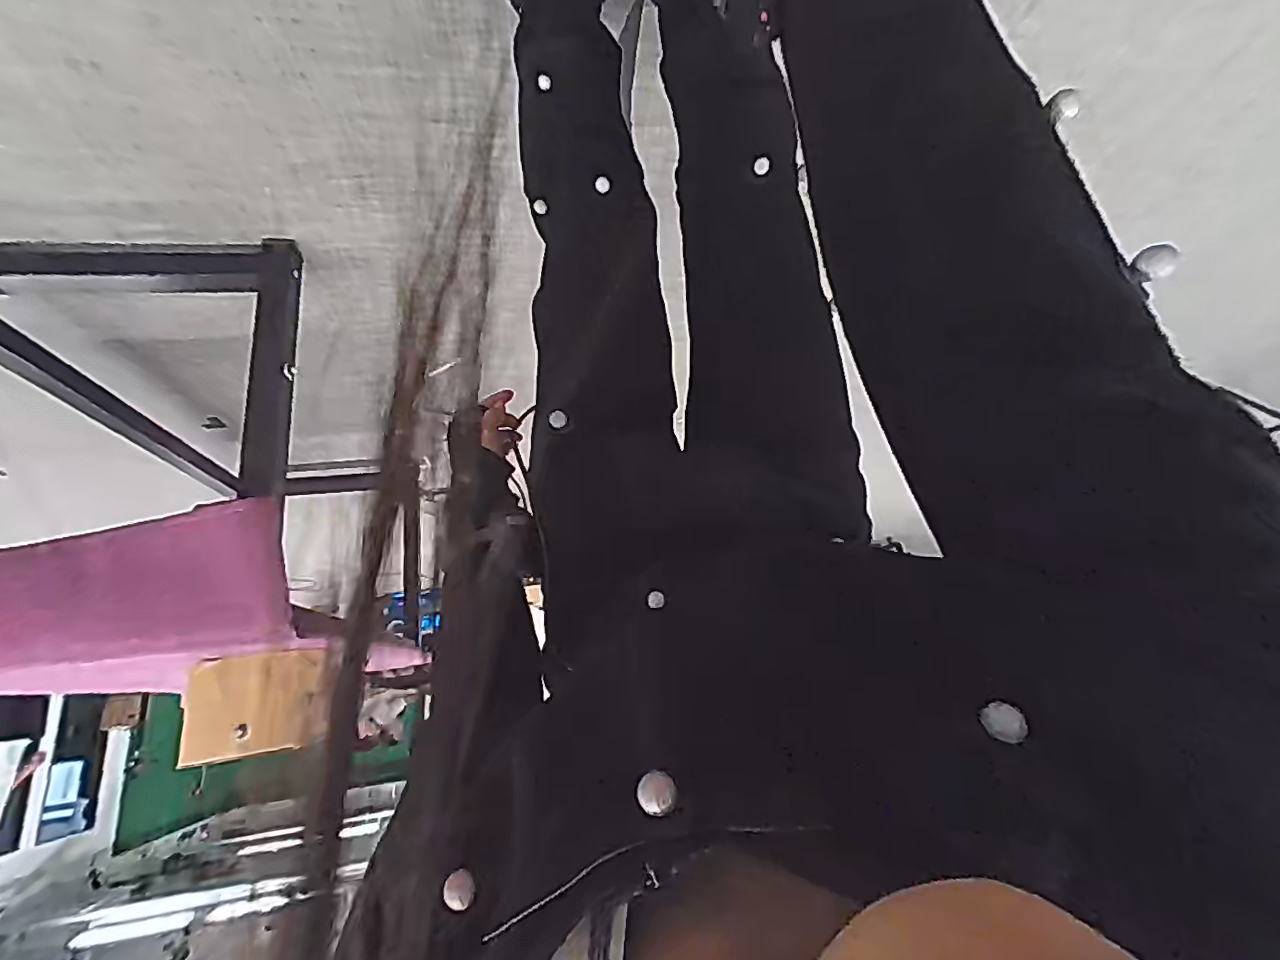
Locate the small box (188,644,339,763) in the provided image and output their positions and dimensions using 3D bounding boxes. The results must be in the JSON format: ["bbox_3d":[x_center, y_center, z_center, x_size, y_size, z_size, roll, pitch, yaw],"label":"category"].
[{"bbox_3d":[-0.671,0.397,0.984,0.179,0.176,0.168,-5,161,-9],"label":"small box"}]
